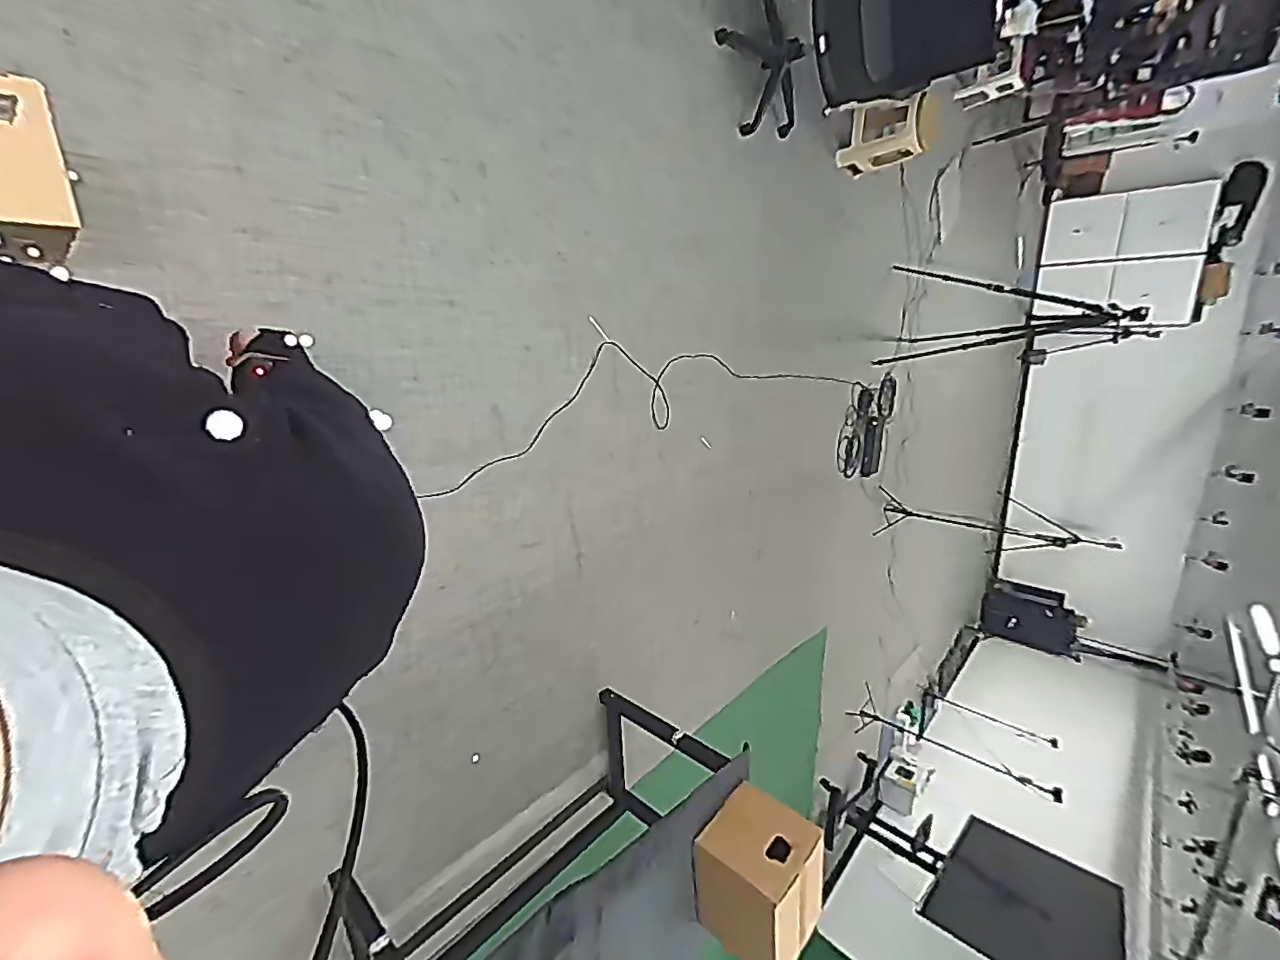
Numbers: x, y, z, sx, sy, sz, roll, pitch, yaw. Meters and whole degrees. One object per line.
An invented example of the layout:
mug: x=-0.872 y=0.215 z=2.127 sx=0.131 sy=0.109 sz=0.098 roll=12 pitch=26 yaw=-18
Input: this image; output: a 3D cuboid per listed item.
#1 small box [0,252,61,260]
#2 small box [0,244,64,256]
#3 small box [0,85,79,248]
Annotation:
small box: x=-1.128 y=-0.473 z=0.919 sx=0.168 sy=0.176 sz=0.179 roll=-20 pitch=116 yaw=-44
small box: x=-1.008 y=-0.441 z=0.814 sx=0.168 sy=0.176 sz=0.179 roll=-20 pitch=114 yaw=-45
small box: x=-0.884 y=-0.412 z=0.710 sx=0.168 sy=0.176 sz=0.179 roll=-18 pitch=115 yaw=-45
